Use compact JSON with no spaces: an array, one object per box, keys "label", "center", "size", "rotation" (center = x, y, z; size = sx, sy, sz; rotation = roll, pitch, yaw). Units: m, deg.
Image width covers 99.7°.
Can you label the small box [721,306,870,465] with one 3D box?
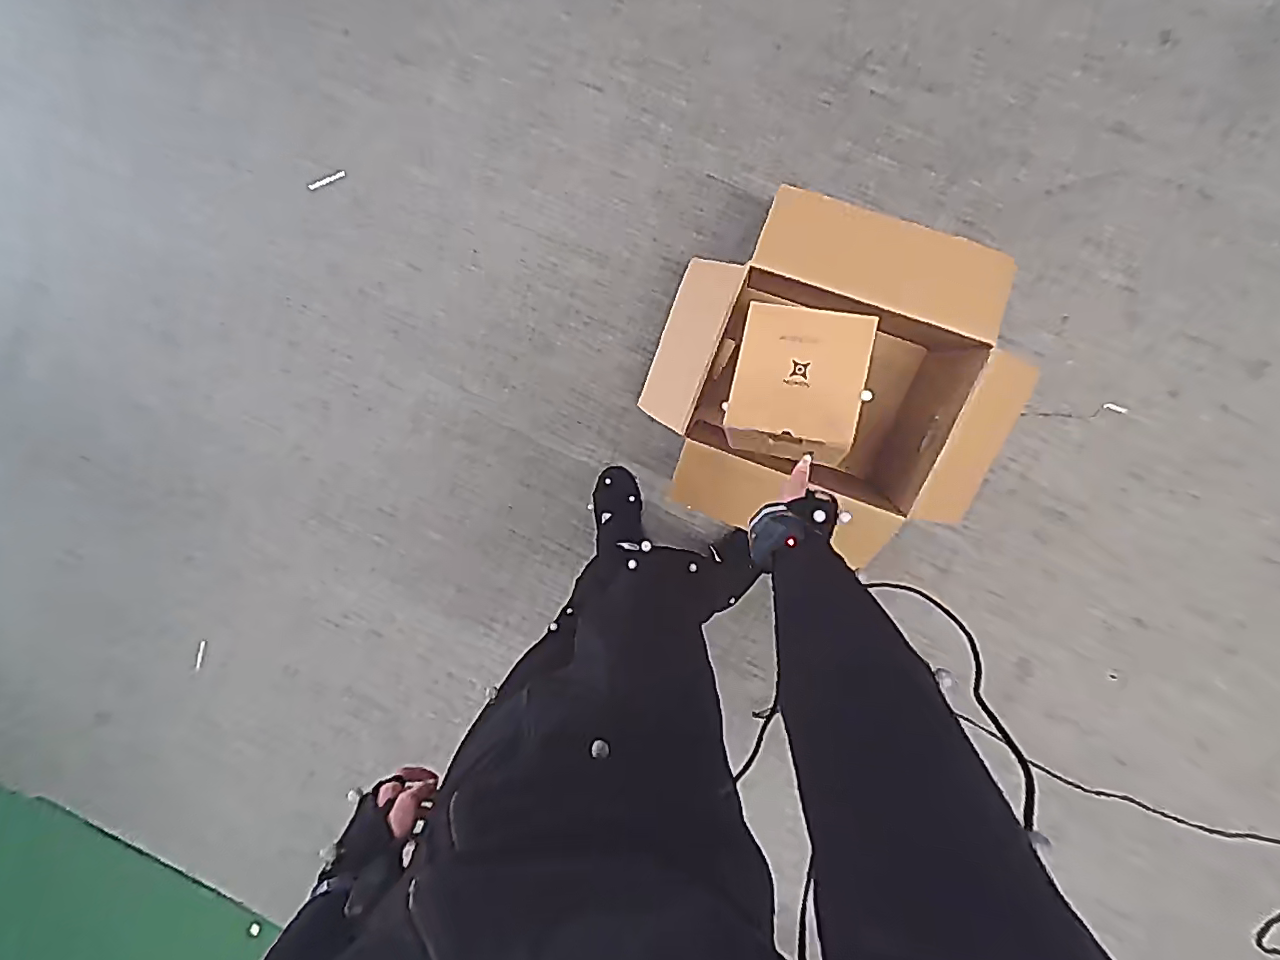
[{"label":"small box","center":[0.223,-0.129,0.798],"size":[0.168,0.176,0.179],"rotation":[13,84,12]}]
